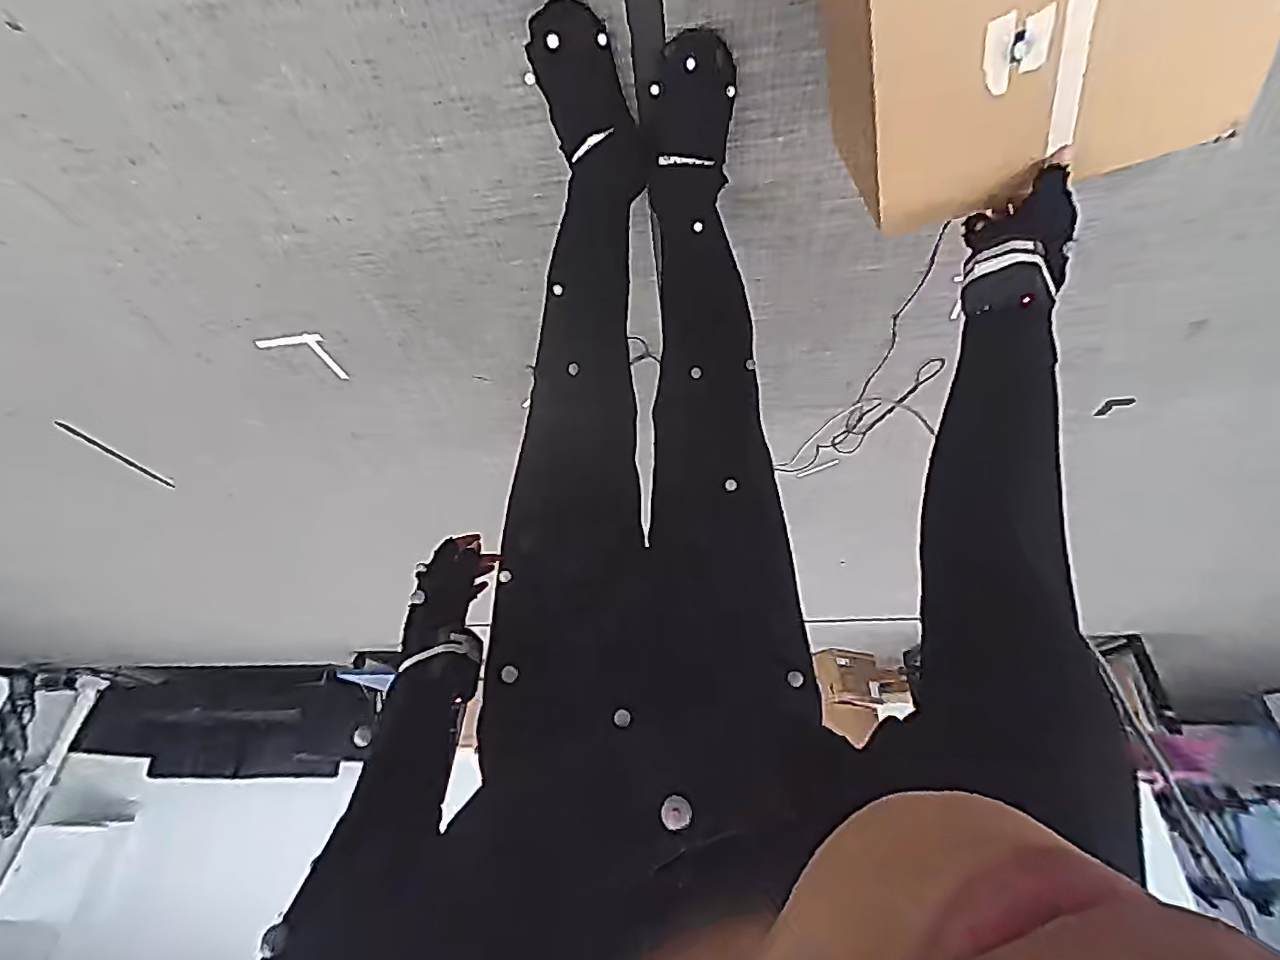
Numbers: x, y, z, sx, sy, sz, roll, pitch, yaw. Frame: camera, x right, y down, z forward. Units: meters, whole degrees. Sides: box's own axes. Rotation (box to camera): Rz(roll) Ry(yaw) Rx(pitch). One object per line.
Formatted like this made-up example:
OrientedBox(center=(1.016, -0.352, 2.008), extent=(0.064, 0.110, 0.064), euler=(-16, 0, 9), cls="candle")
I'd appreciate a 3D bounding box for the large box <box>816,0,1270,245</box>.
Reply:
OrientedBox(center=(0.355, -0.531, 0.530), extent=(0.320, 0.320, 0.408), euler=(-11, 137, 16), cls="large box")
